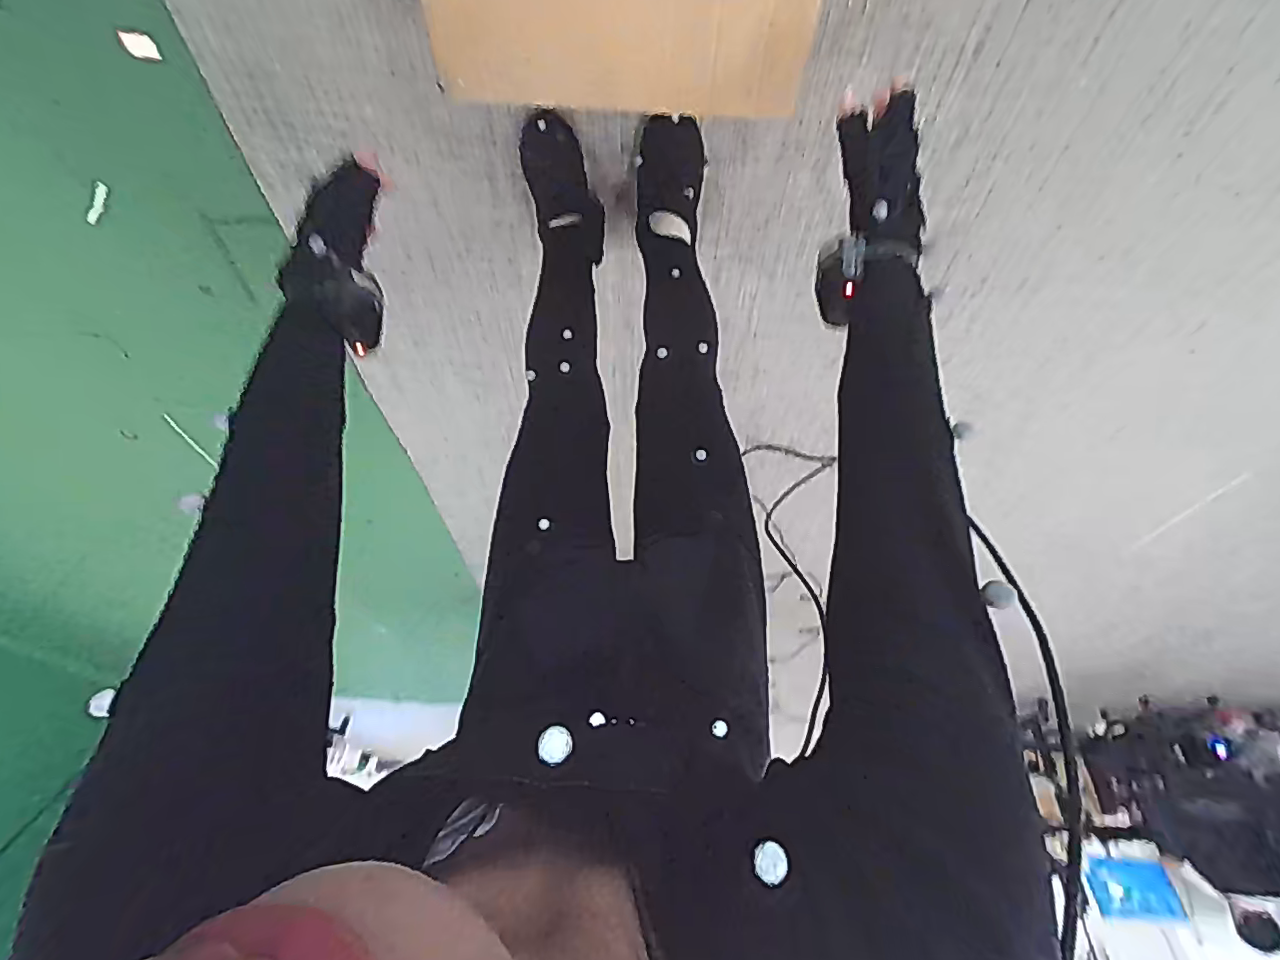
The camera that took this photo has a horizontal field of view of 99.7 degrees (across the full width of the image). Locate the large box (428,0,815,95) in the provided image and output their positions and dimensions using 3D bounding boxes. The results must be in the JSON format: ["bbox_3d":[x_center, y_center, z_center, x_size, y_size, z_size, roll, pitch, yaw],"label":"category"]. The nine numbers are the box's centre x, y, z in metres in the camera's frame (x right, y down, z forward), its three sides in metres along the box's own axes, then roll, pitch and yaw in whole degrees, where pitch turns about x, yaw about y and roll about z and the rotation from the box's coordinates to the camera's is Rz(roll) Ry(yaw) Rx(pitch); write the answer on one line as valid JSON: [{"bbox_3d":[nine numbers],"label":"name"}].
[{"bbox_3d":[-0.011,-0.658,0.571,0.408,0.320,0.320,4,145,-1],"label":"large box"}]
